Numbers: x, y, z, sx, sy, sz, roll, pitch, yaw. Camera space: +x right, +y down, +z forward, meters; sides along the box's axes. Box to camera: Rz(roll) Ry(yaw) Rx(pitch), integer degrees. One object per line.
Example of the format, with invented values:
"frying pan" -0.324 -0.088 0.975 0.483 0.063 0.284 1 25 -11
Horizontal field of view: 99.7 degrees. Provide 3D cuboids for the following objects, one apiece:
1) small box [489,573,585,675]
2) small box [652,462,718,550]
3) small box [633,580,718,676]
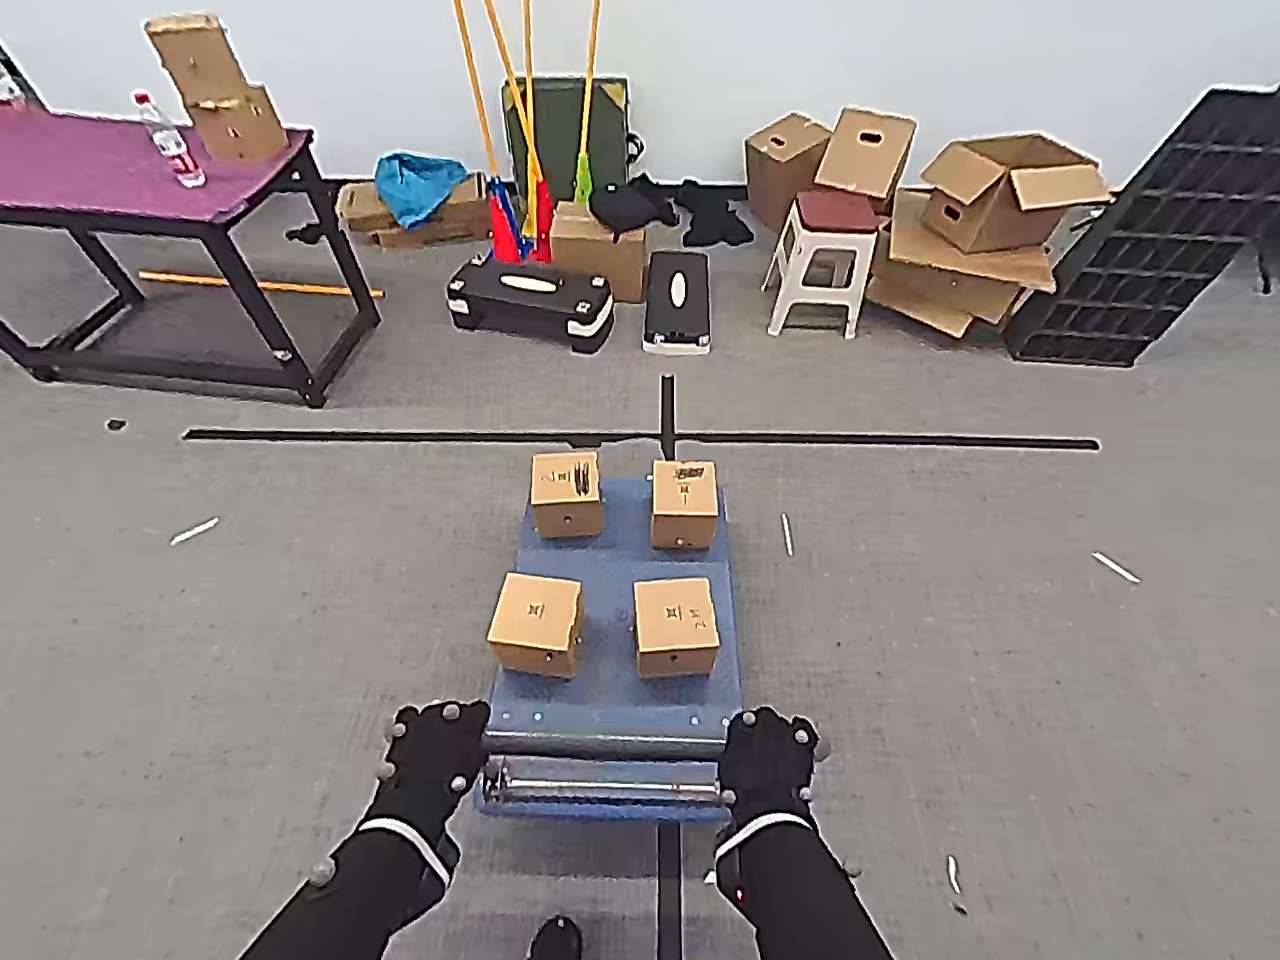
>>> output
"small box" -0.230 0.338 1.258 0.179 0.176 0.168 7 52 3
"small box" 0.118 0.072 1.475 0.168 0.176 0.179 2 53 0
"small box" 0.076 0.347 1.259 0.179 0.176 0.168 -2 52 -3
